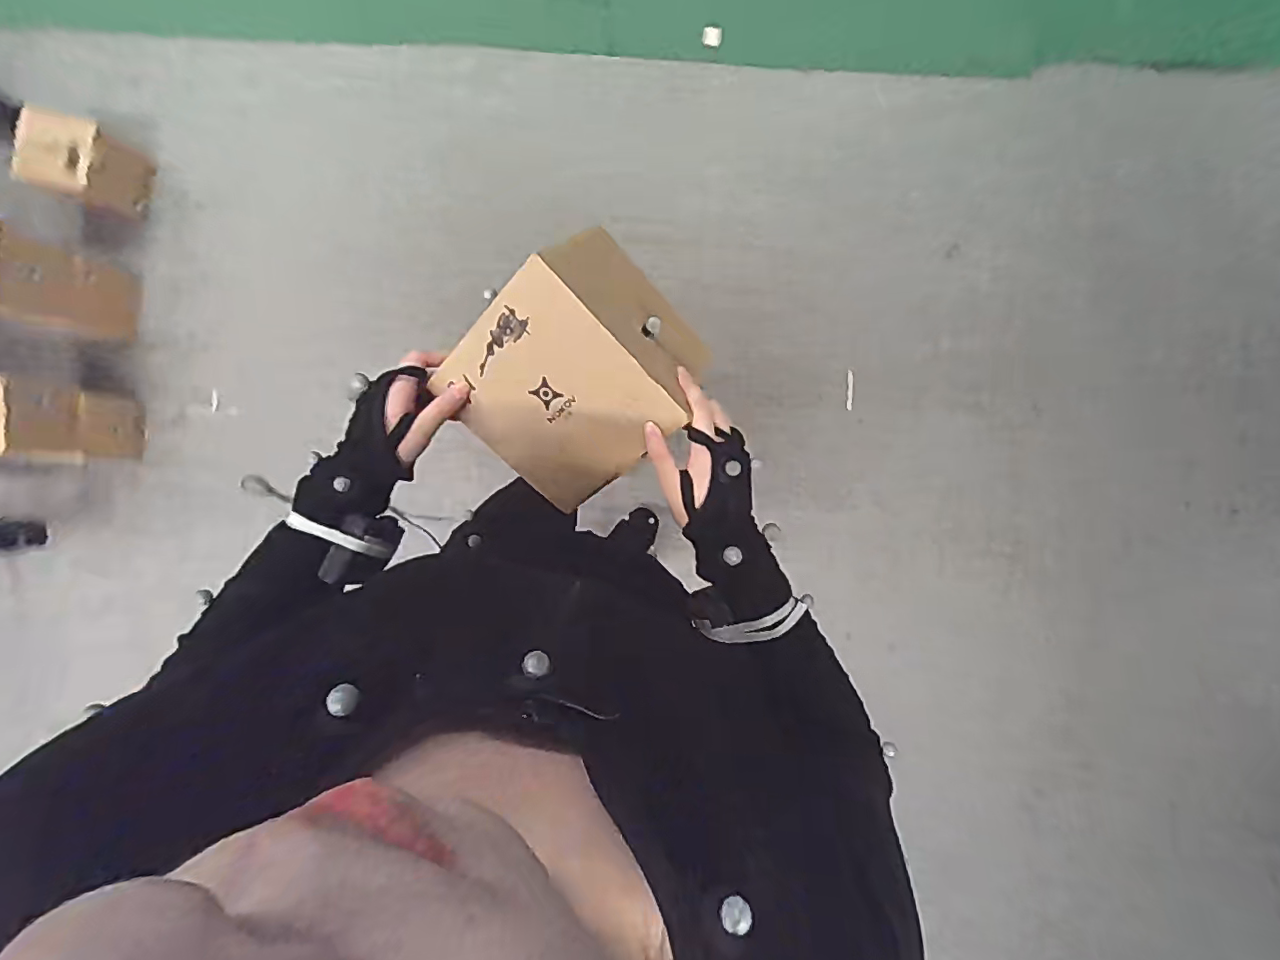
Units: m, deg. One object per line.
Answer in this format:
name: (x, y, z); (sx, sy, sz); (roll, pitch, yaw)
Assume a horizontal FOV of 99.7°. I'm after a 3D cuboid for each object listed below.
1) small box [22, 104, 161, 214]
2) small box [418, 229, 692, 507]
small box: (-1.383, -0.805, 1.376); (0.179, 0.176, 0.168); (11, 91, -1)
small box: (-0.067, -0.114, 0.526); (0.179, 0.176, 0.168); (43, 121, -16)
